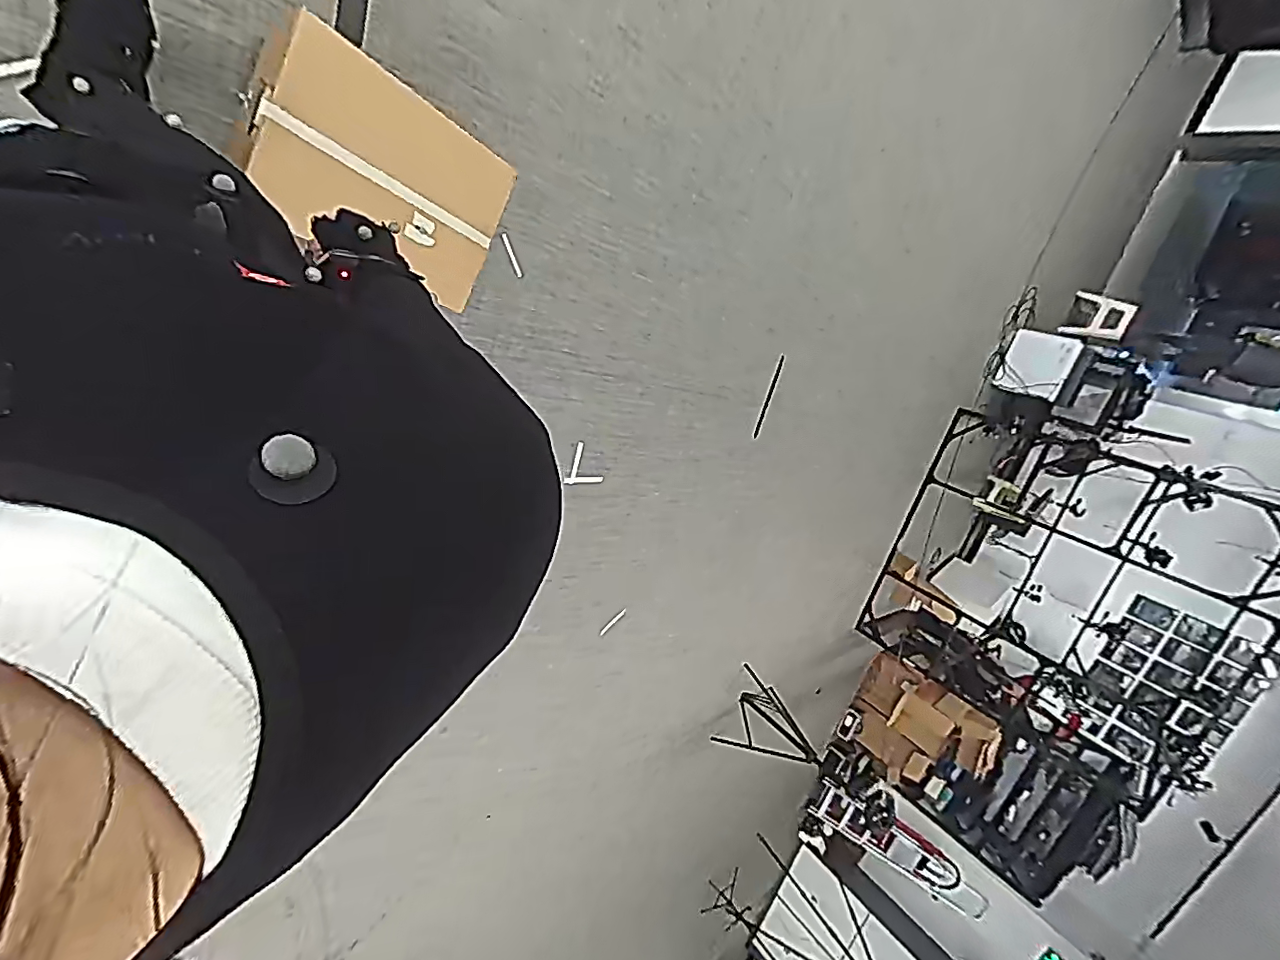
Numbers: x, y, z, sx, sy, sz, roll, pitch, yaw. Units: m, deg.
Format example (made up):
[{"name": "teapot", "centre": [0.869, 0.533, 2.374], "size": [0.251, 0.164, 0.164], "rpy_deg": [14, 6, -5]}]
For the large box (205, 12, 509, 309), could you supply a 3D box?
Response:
[{"name": "large box", "centre": [-0.550, -0.587, 1.062], "size": [0.408, 0.320, 0.320], "rpy_deg": [17, 102, -49]}]
